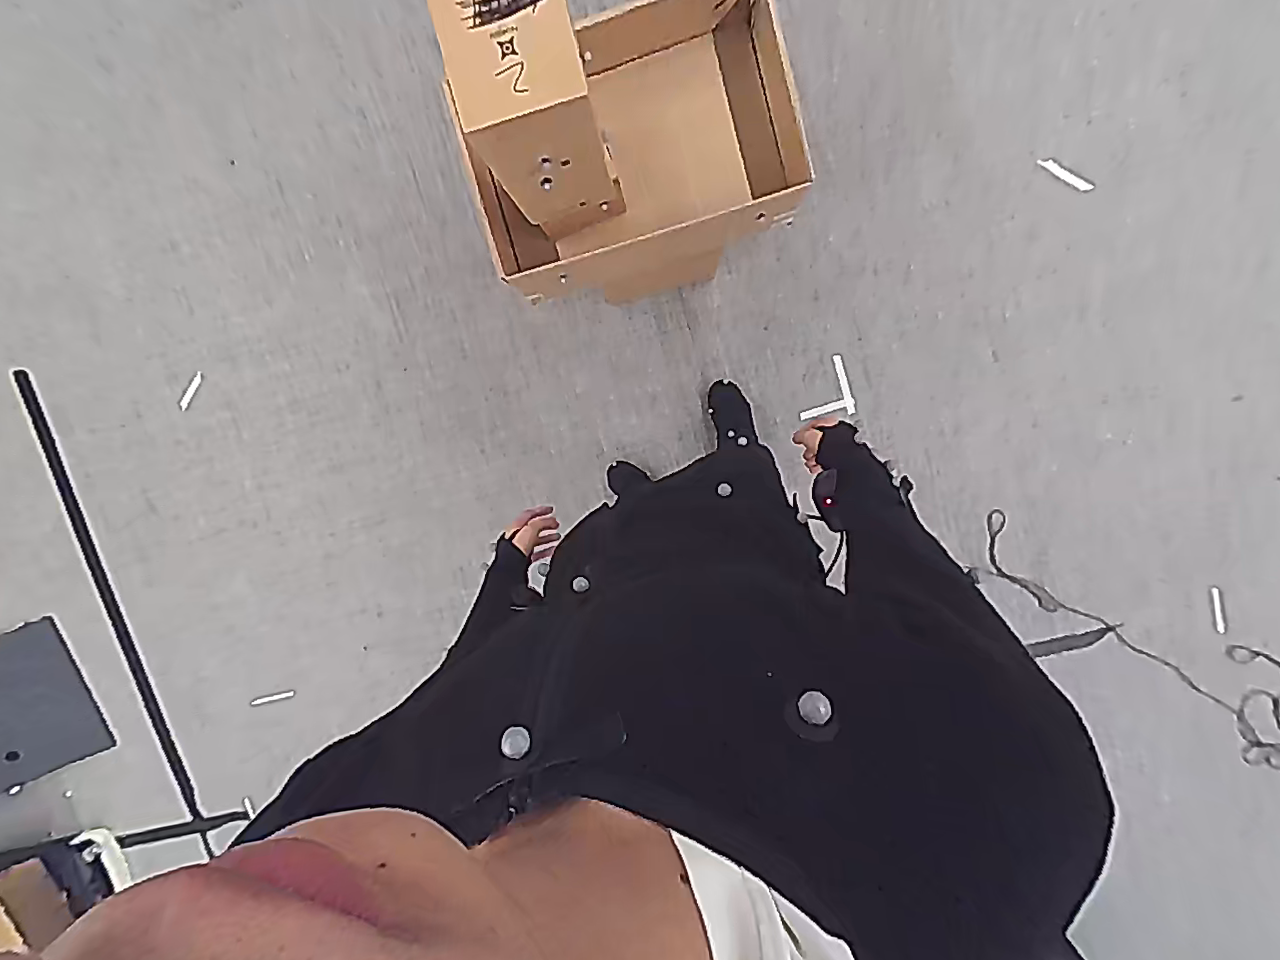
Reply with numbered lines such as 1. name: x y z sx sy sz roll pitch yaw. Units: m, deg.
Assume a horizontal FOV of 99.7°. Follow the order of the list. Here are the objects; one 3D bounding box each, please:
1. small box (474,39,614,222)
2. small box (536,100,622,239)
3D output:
1. small box: -0.149 -0.565 0.899 0.168 0.176 0.179 -15 95 6
2. small box: -0.142 -0.604 1.059 0.179 0.176 0.168 -20 95 7
